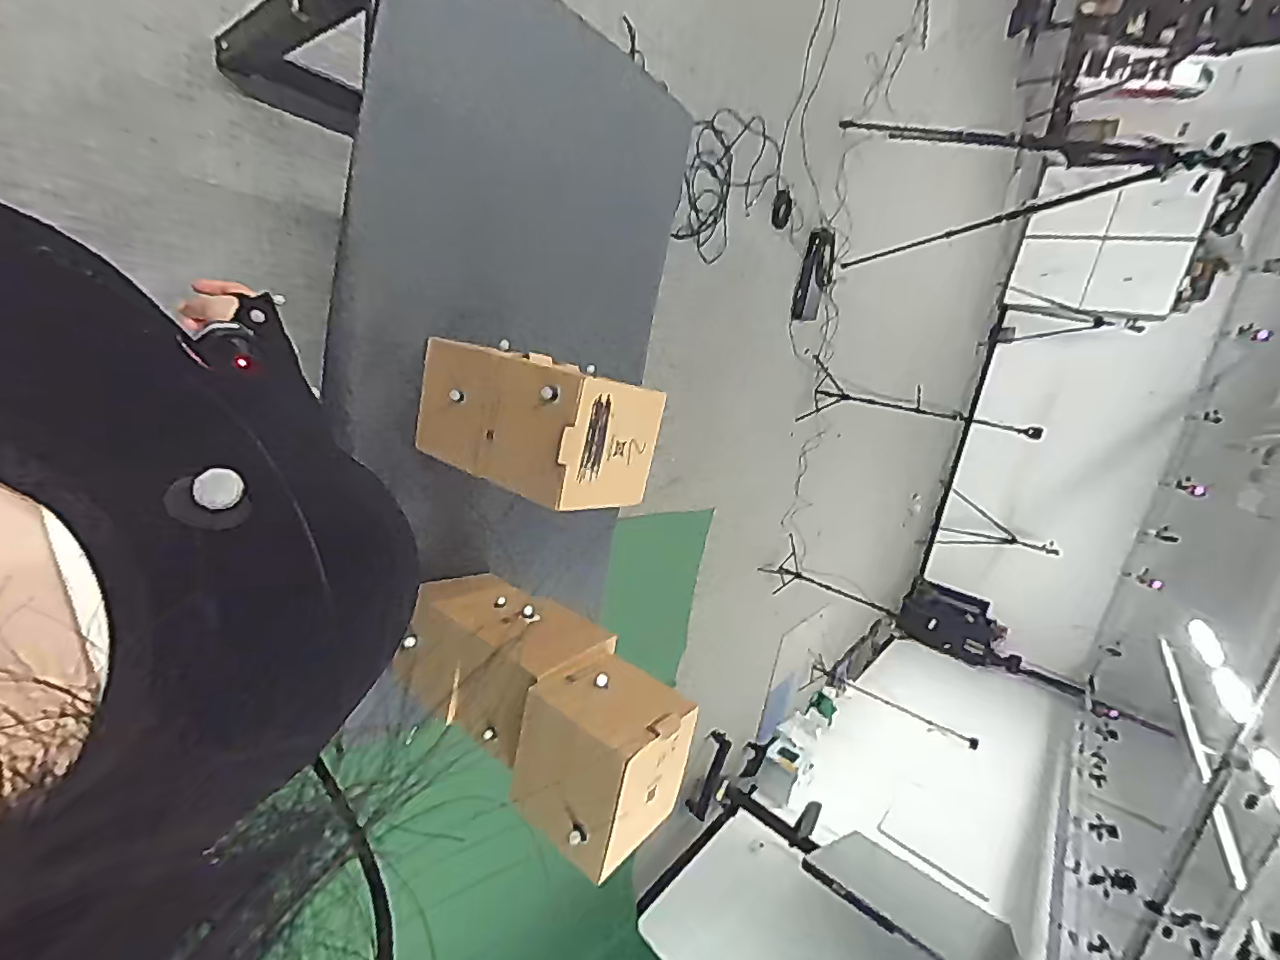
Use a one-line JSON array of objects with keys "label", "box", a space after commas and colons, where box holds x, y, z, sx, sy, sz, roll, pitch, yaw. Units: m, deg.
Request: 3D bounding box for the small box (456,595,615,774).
[{"label": "small box", "box": [-0.162, 0.302, 0.825, 0.168, 0.176, 0.179, -12, 113, -53]}]

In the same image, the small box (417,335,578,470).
[{"label": "small box", "box": [-0.221, -0.120, 0.832, 0.168, 0.176, 0.179, -4, 108, -52]}]

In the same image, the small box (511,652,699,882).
[{"label": "small box", "box": [-0.049, 0.361, 0.718, 0.168, 0.176, 0.179, -4, 108, -55]}]

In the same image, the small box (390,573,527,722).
[{"label": "small box", "box": [-0.290, 0.269, 0.920, 0.179, 0.176, 0.168, 2, 103, -54]}]
